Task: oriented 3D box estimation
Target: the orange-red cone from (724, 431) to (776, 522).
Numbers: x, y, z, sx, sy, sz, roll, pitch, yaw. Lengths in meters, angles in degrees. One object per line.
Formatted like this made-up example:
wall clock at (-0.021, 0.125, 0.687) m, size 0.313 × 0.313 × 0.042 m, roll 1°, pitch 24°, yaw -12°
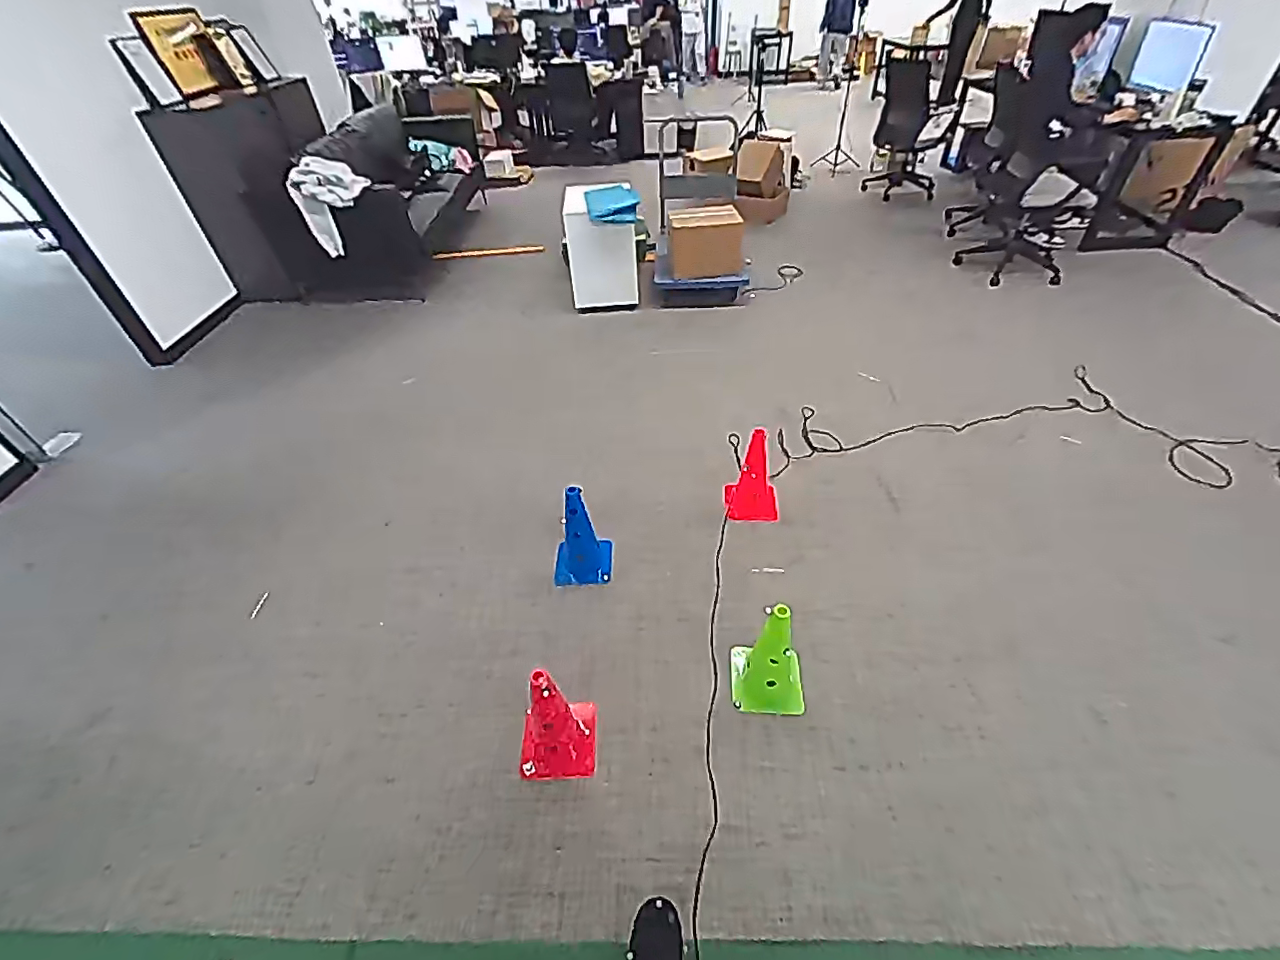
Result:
orange-red cone at (0.418, -0.032, 2.004) m, size 0.198 × 0.360 × 0.199 m, roll 1°, pitch 44°, yaw 7°

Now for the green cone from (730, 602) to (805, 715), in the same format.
green cone at (0.363, 0.458, 1.464) m, size 0.200 × 0.368 × 0.202 m, roll 1°, pitch 41°, yaw 4°
